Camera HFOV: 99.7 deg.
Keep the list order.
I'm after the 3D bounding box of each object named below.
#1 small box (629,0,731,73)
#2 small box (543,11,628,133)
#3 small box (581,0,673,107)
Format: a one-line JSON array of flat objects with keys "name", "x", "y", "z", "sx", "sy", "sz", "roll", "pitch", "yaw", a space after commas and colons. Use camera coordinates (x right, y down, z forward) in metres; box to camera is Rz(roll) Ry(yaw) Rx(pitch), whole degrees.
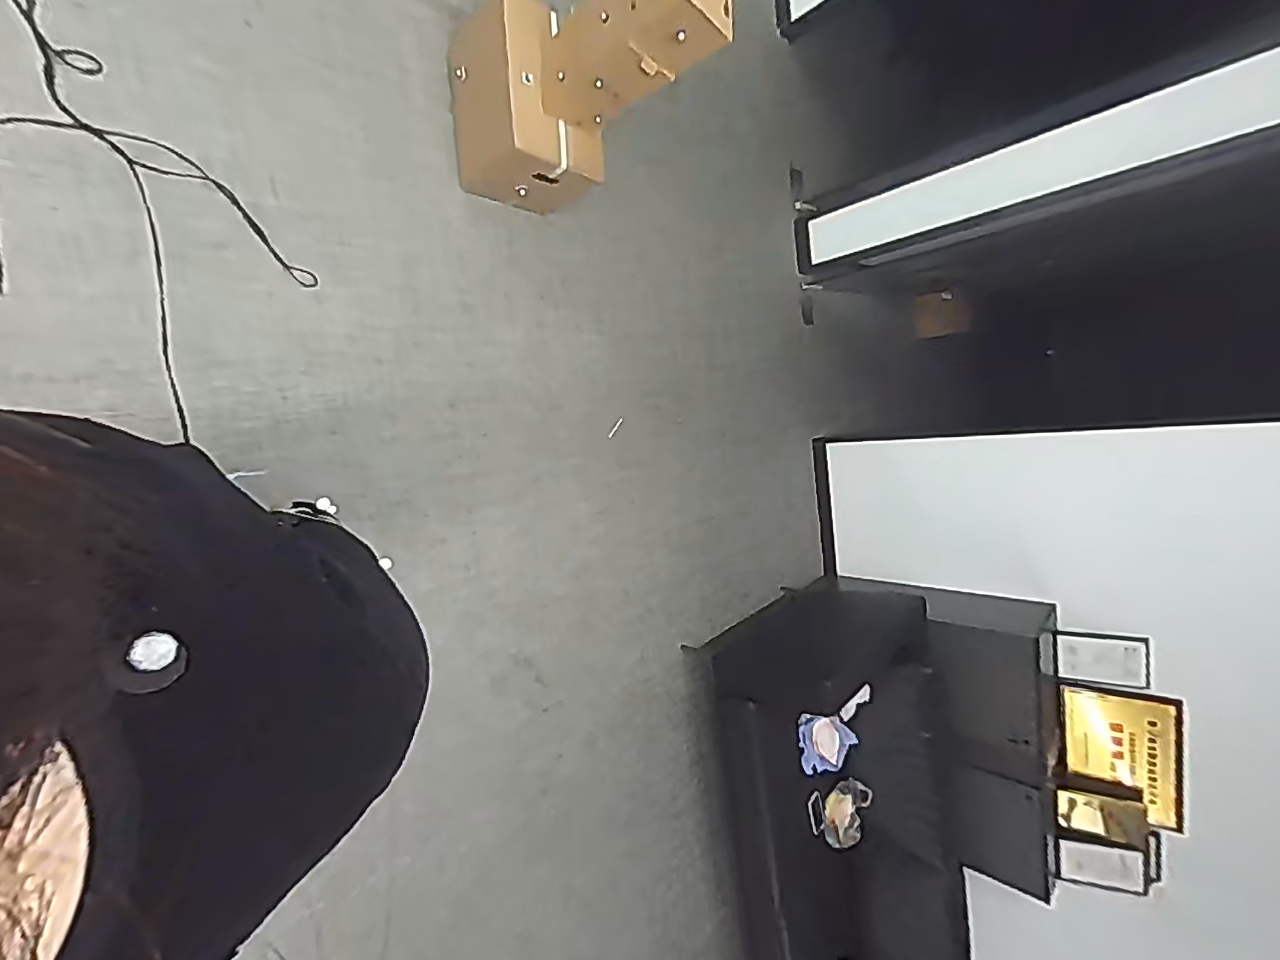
[{"name": "small box", "x": 0.087, "y": -1.075, "z": 1.223, "sx": 0.179, "sy": 0.176, "sz": 0.168, "roll": -3, "pitch": 93, "yaw": -46}, {"name": "small box", "x": -0.148, "y": -1.078, "z": 1.452, "sx": 0.168, "sy": 0.176, "sz": 0.179, "roll": -3, "pitch": 92, "yaw": -46}, {"name": "small box", "x": -0.033, "y": -1.073, "z": 1.335, "sx": 0.168, "sy": 0.176, "sz": 0.179, "roll": -1, "pitch": 90, "yaw": -47}]
